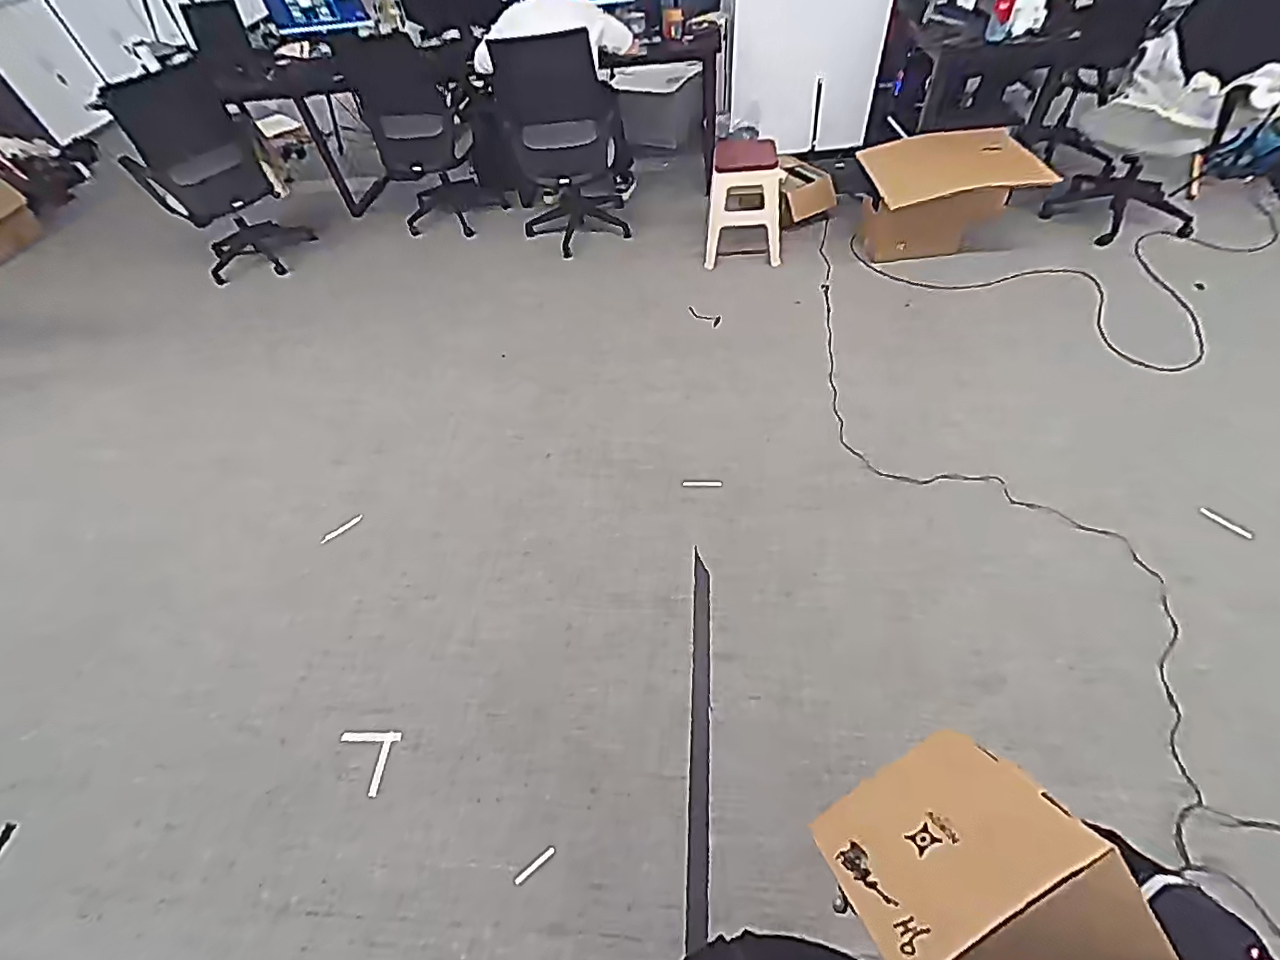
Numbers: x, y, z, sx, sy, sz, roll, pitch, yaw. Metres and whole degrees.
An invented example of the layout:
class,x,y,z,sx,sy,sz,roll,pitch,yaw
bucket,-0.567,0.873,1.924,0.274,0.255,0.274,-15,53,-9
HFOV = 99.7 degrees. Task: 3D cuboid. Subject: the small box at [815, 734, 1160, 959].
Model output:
class,x,y,z,sx,sy,sz,roll,pitch,yaw
small box,0.291,0.369,0.461,0.179,0.168,0.176,-31,94,-3
